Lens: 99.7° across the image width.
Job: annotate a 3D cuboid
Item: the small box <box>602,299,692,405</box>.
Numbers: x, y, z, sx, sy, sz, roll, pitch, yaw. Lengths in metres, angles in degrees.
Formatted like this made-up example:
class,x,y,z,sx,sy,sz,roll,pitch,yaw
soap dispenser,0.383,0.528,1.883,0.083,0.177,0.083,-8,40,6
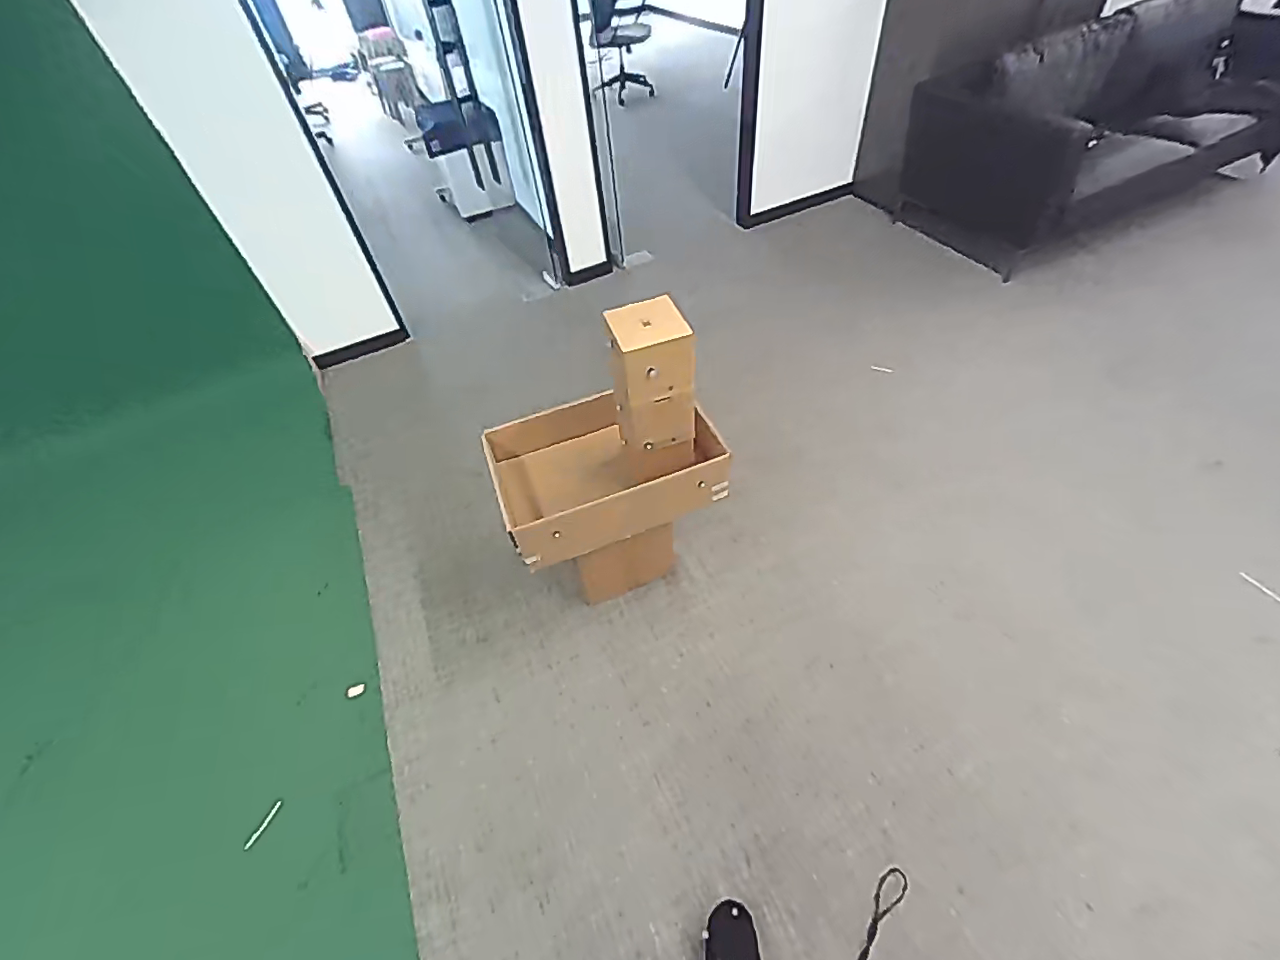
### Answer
class,x,y,z,sx,sy,sz,roll,pitch,yaw
small box,0.021,-0.298,1.294,0.168,0.176,0.179,-17,49,-7

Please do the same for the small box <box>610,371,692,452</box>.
class,x,y,z,sx,sy,sz,roll,pitch,yaw
small box,0.033,-0.193,1.417,0.168,0.176,0.179,-17,49,-8
